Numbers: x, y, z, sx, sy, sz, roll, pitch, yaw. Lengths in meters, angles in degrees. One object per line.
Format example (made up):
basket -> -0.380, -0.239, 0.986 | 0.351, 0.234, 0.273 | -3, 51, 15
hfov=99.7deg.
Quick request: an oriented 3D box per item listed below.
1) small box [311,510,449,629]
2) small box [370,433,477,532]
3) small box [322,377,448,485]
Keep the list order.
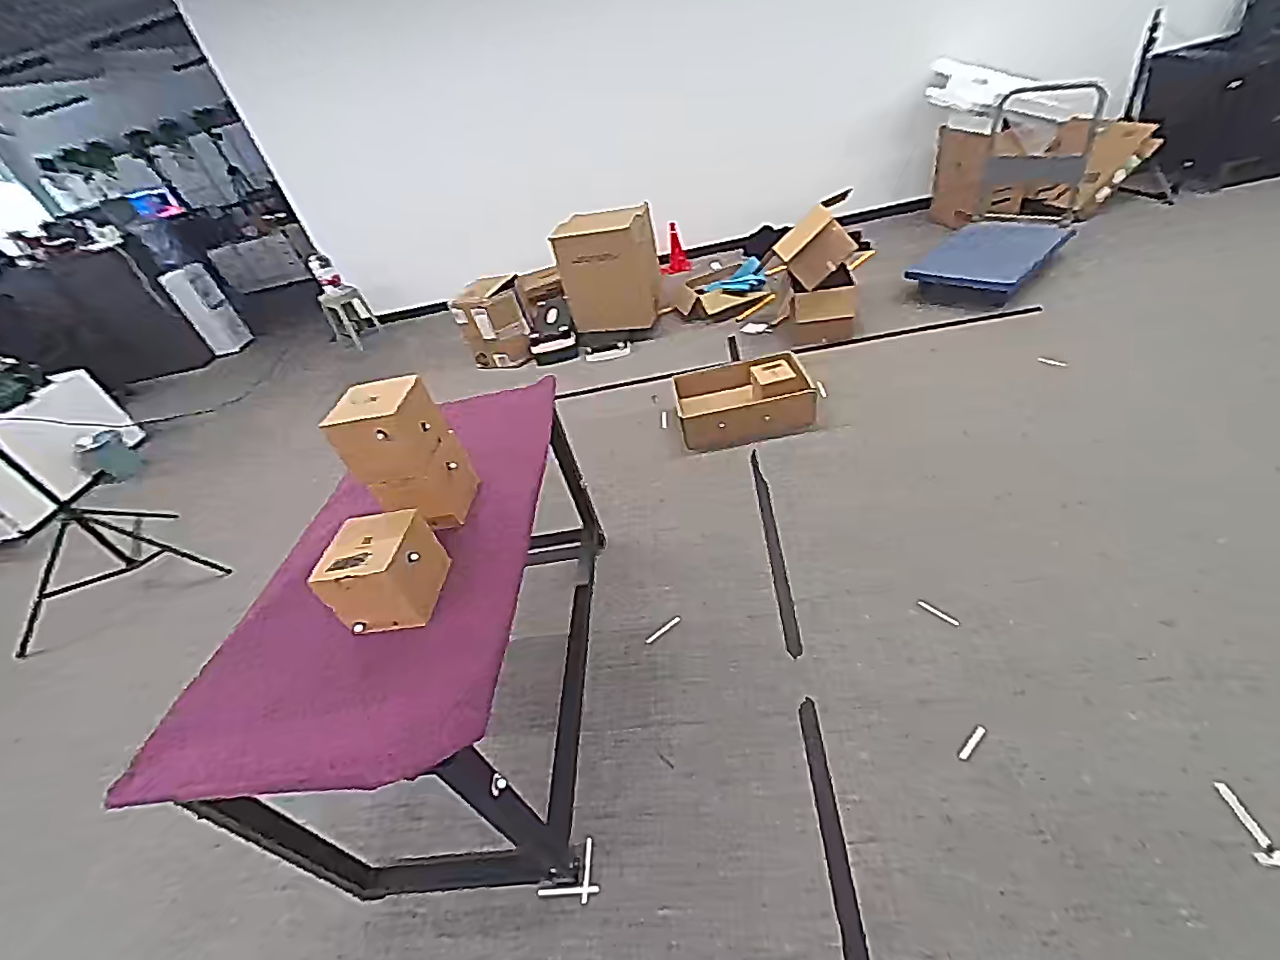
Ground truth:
small box -> -0.520, 0.190, 1.114 | 0.168, 0.176, 0.179 | -9, 38, 8
small box -> -0.522, 0.011, 1.336 | 0.168, 0.176, 0.179 | -9, 39, 9
small box -> -0.565, -0.108, 1.230 | 0.179, 0.176, 0.168 | -9, 39, 9
